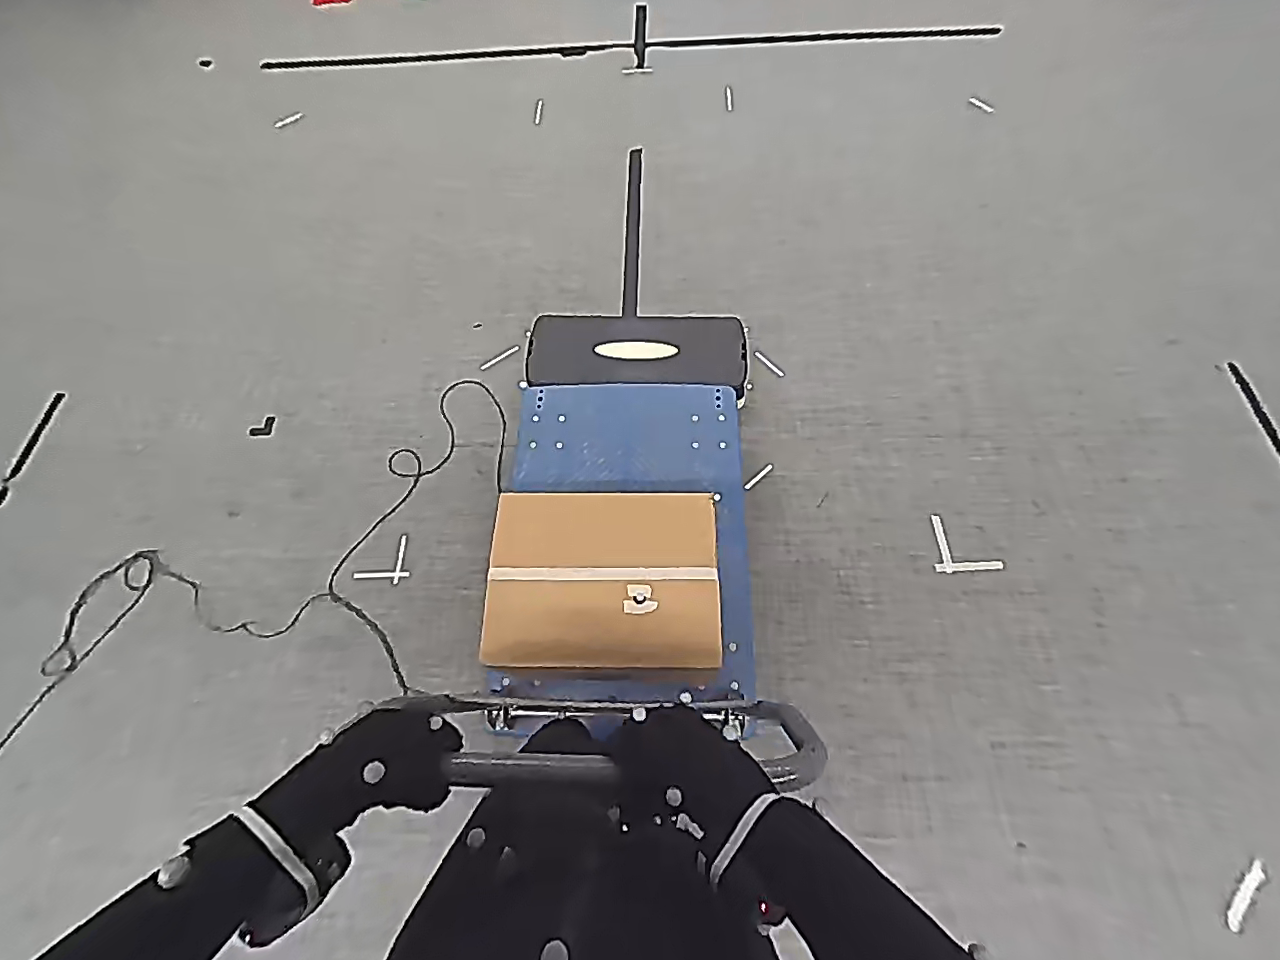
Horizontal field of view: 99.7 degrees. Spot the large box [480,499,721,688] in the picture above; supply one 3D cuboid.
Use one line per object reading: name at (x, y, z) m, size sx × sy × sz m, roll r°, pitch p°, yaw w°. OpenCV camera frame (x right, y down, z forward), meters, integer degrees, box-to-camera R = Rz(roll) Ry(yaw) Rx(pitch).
large box at (-0.065, 0.238, 1.079) m, size 0.408 × 0.320 × 0.320 m, roll 0°, pitch 66°, yaw 1°
